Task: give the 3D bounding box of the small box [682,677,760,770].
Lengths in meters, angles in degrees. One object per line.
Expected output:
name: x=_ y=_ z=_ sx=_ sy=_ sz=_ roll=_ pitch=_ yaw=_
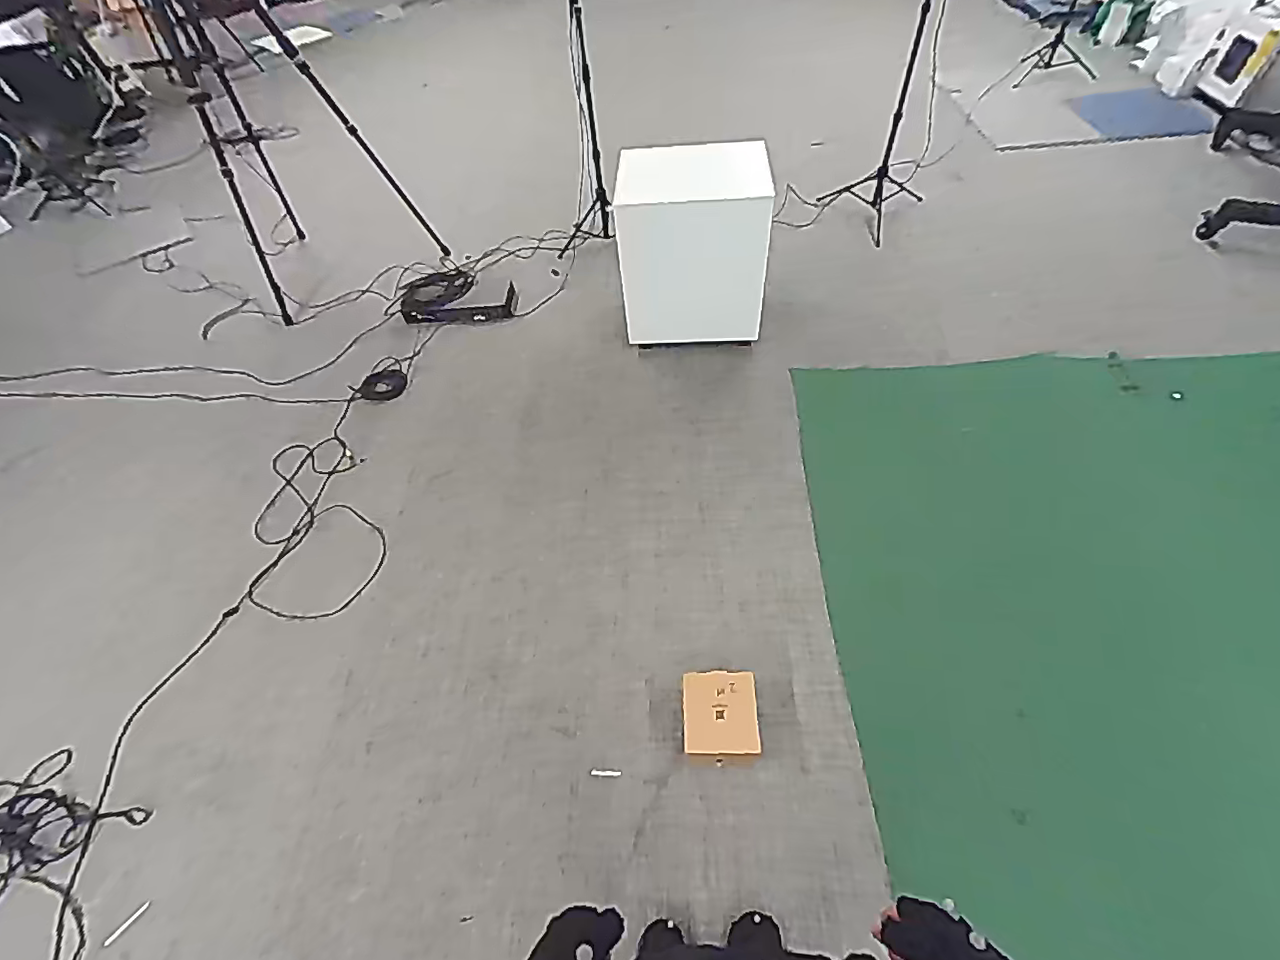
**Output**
small box: x=0.185 y=0.575 z=1.271 sx=0.168 sy=0.176 sz=0.179 roll=-1 pitch=53 yaw=4
